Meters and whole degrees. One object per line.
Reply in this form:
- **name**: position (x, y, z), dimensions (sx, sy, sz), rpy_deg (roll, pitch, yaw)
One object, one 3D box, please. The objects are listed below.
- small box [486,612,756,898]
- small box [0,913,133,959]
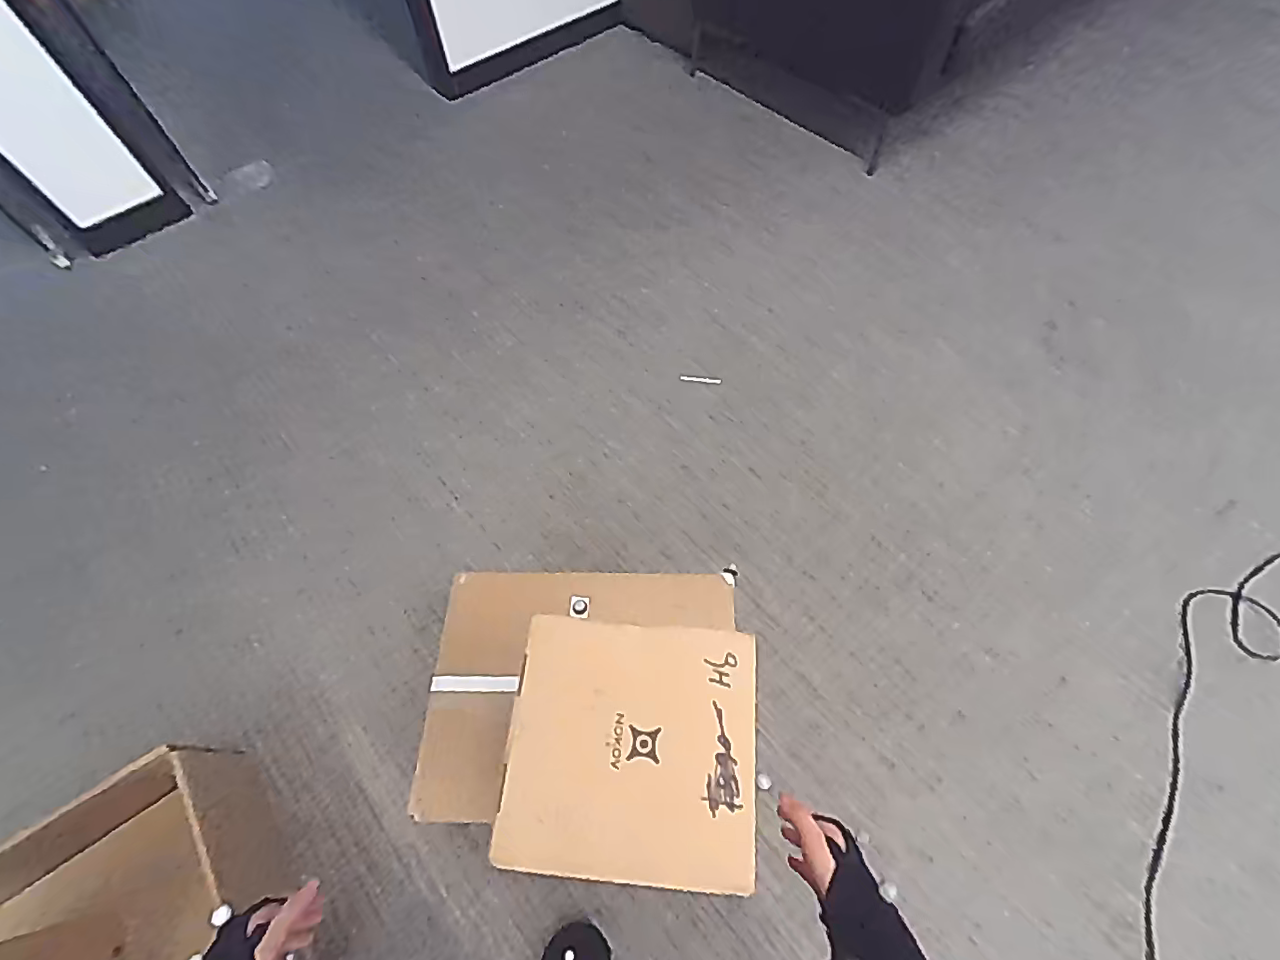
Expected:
- **small box**: position (-0.005, 0.217, 0.452), dimensions (0.179, 0.176, 0.168), rpy_deg (5, 65, 4)
- **small box**: position (-0.799, 0.704, 0.683), dimensions (0.179, 0.176, 0.168), rpy_deg (-33, 67, -16)
